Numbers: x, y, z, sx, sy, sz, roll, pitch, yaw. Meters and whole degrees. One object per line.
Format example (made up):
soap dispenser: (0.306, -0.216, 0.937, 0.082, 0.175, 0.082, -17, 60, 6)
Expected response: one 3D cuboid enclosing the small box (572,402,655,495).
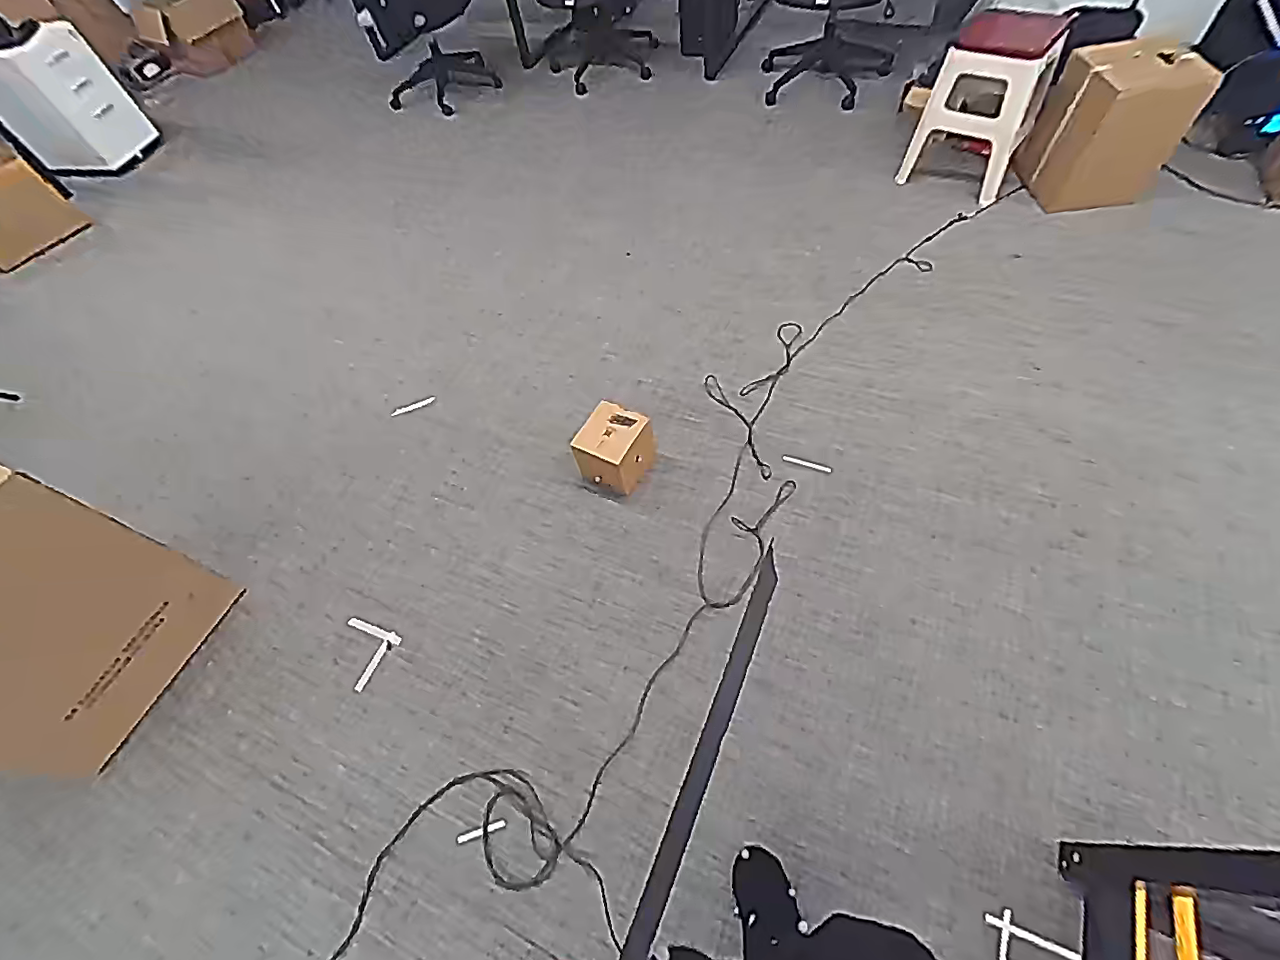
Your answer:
small box: (-0.069, -0.090, 1.568, 0.168, 0.176, 0.179, 24, 65, 22)
